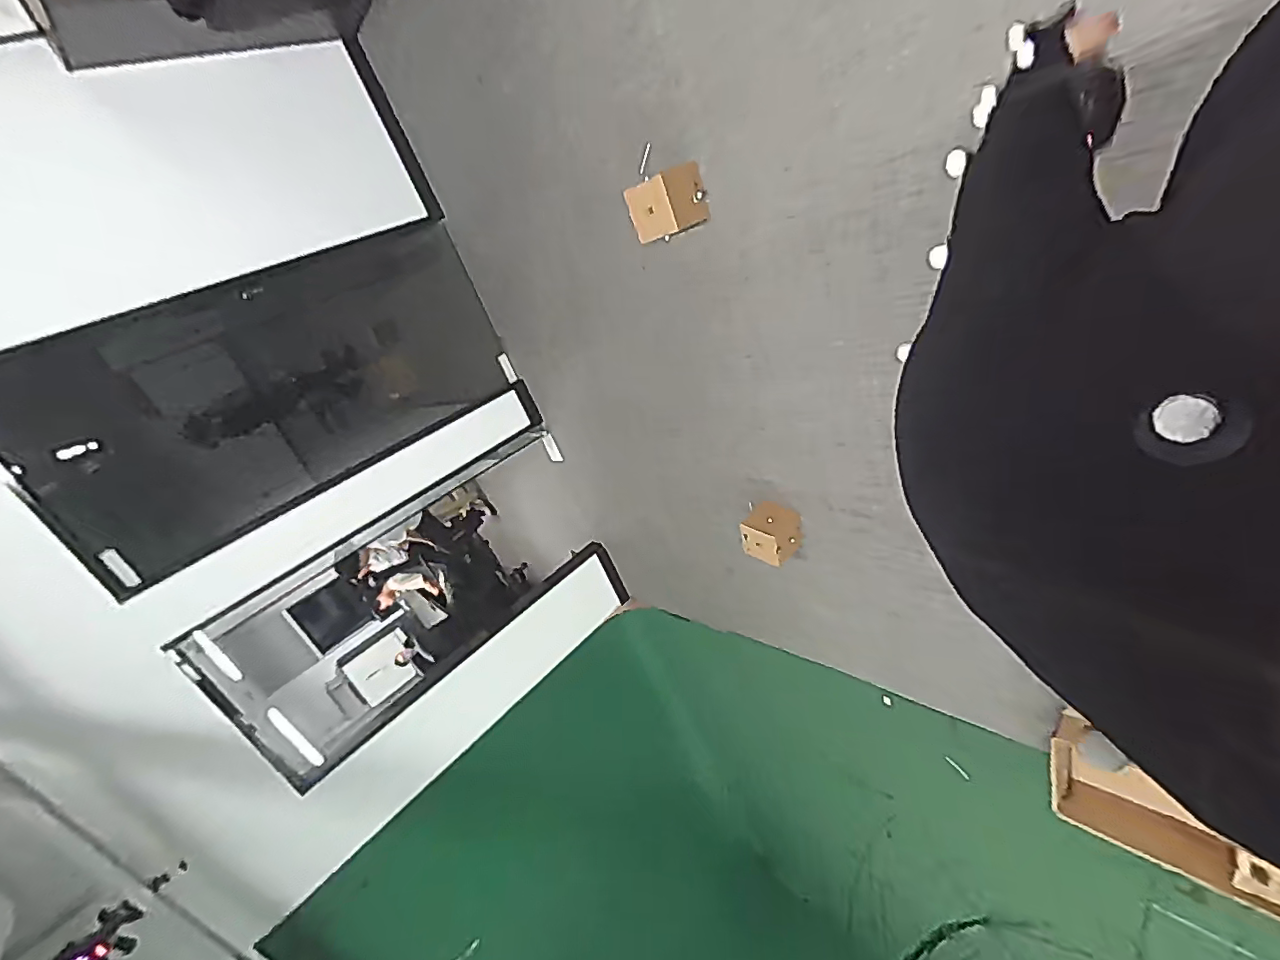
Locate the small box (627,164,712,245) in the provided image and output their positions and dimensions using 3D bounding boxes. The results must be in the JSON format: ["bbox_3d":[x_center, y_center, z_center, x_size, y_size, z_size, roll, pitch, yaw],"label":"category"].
[{"bbox_3d":[0.096,-0.872,1.714,0.179,0.176,0.168,7,128,49],"label":"small box"}]

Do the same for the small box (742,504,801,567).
[{"bbox_3d":[0.545,0.222,2.213,0.179,0.176,0.168,20,136,42],"label":"small box"}]

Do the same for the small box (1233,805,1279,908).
[{"bbox_3d":[1.663,0.976,1.380,0.179,0.176,0.168,8,127,49],"label":"small box"}]
